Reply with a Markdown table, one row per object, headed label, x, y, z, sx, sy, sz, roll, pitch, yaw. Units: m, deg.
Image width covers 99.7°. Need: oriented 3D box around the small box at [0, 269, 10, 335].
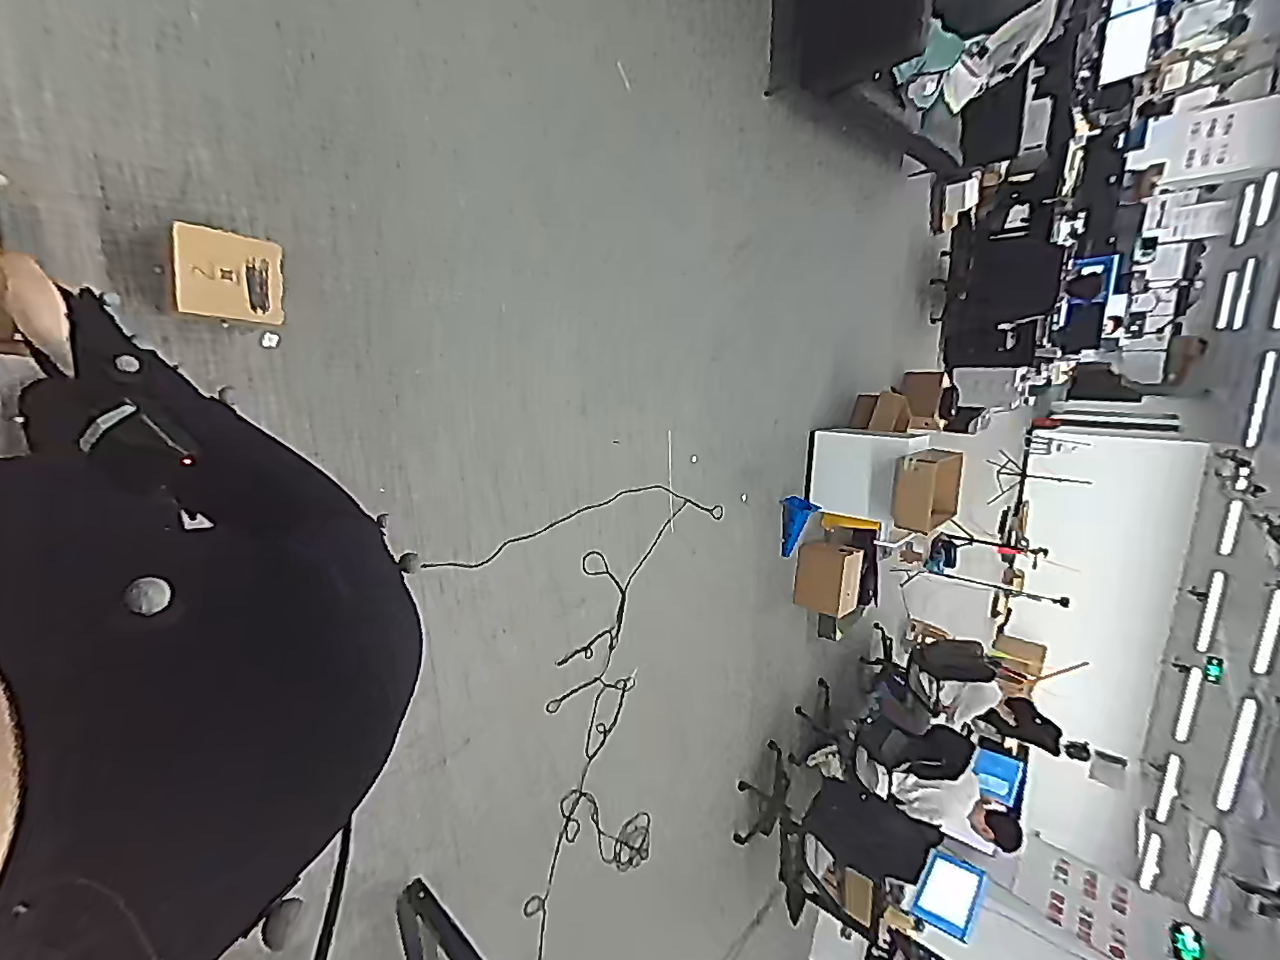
| label | x | y | z | sx | sy | sz | roll | pitch | yaw |
| --- | --- | --- | --- | --- | --- | --- | --- | --- | --- |
| small box | -0.597 | -0.200 | 0.387 | 0.168 | 0.176 | 0.179 | -11 | 108 | -51 |
